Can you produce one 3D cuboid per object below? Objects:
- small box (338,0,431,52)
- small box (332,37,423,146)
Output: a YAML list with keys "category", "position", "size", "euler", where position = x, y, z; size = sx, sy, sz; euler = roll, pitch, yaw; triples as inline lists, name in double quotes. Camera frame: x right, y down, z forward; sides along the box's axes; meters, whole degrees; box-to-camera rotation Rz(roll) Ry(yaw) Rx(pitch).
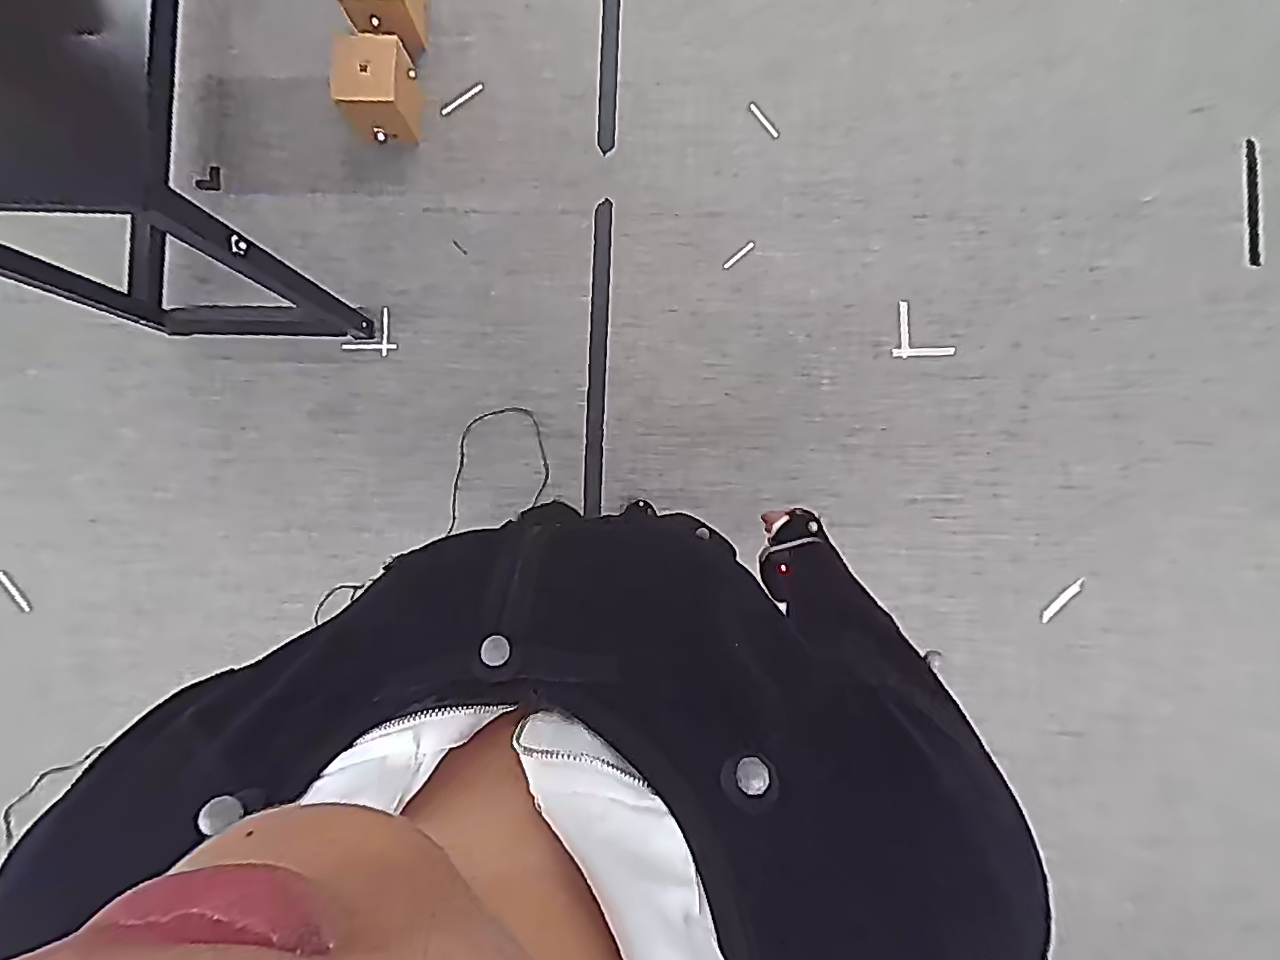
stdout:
- category: "small box"
  position: [-0.690, -1.308, 1.468]
  size: [0.179, 0.176, 0.168]
  euler: [1, 89, 1]
- category: "small box"
  position: [-0.701, -1.045, 1.462]
  size: [0.168, 0.176, 0.179]
  euler: [1, 89, 1]
